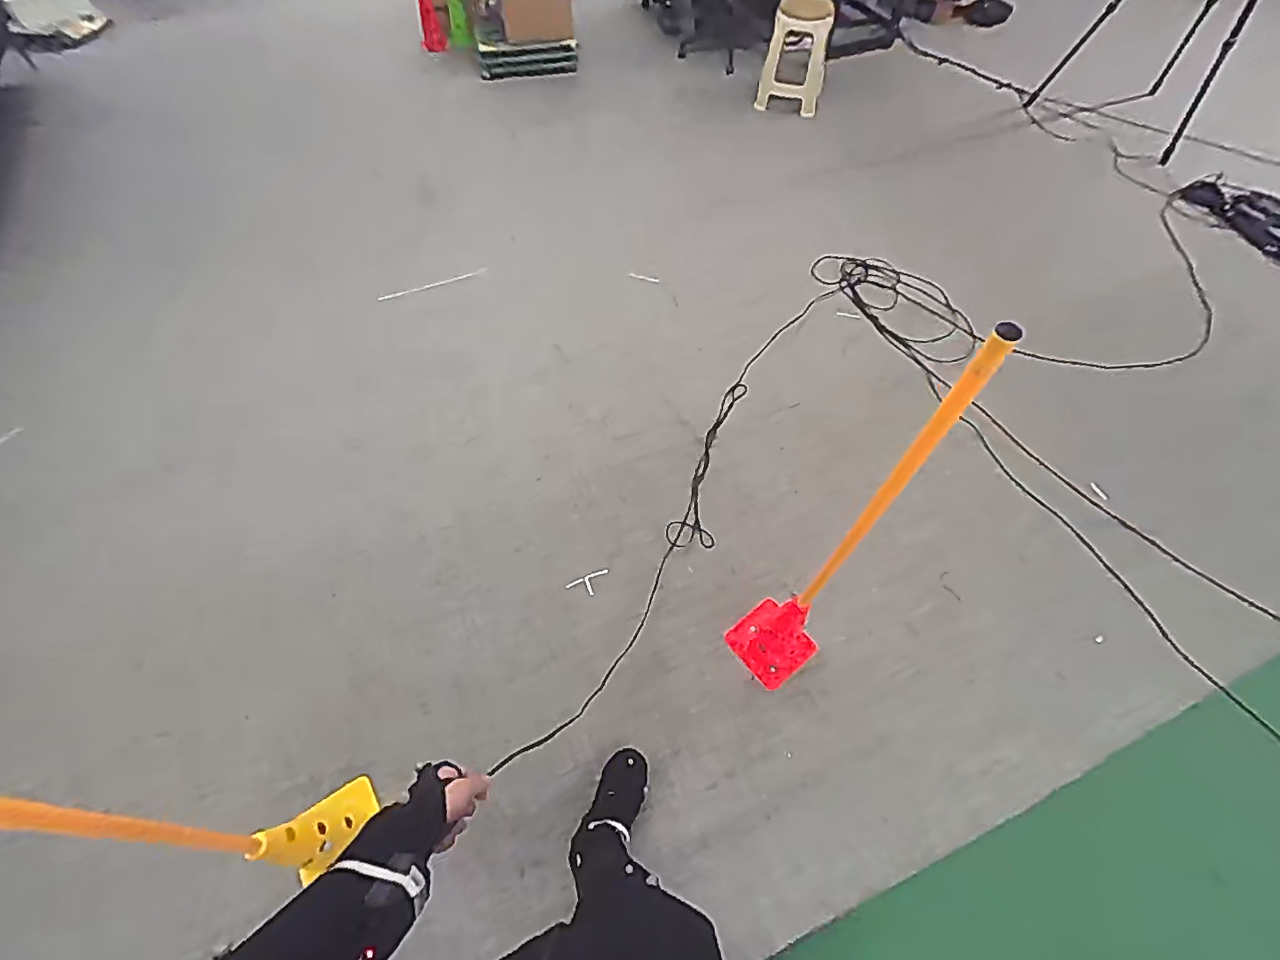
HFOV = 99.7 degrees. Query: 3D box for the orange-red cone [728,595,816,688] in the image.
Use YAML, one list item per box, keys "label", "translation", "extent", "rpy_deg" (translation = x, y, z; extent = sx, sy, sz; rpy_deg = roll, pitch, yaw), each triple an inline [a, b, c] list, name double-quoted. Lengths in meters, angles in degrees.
- label: "orange-red cone"
  translation: [0.380, 0.371, 1.394]
  extent: [0.199, 0.360, 0.198]
  rpy_deg: [-33, 65, -20]
